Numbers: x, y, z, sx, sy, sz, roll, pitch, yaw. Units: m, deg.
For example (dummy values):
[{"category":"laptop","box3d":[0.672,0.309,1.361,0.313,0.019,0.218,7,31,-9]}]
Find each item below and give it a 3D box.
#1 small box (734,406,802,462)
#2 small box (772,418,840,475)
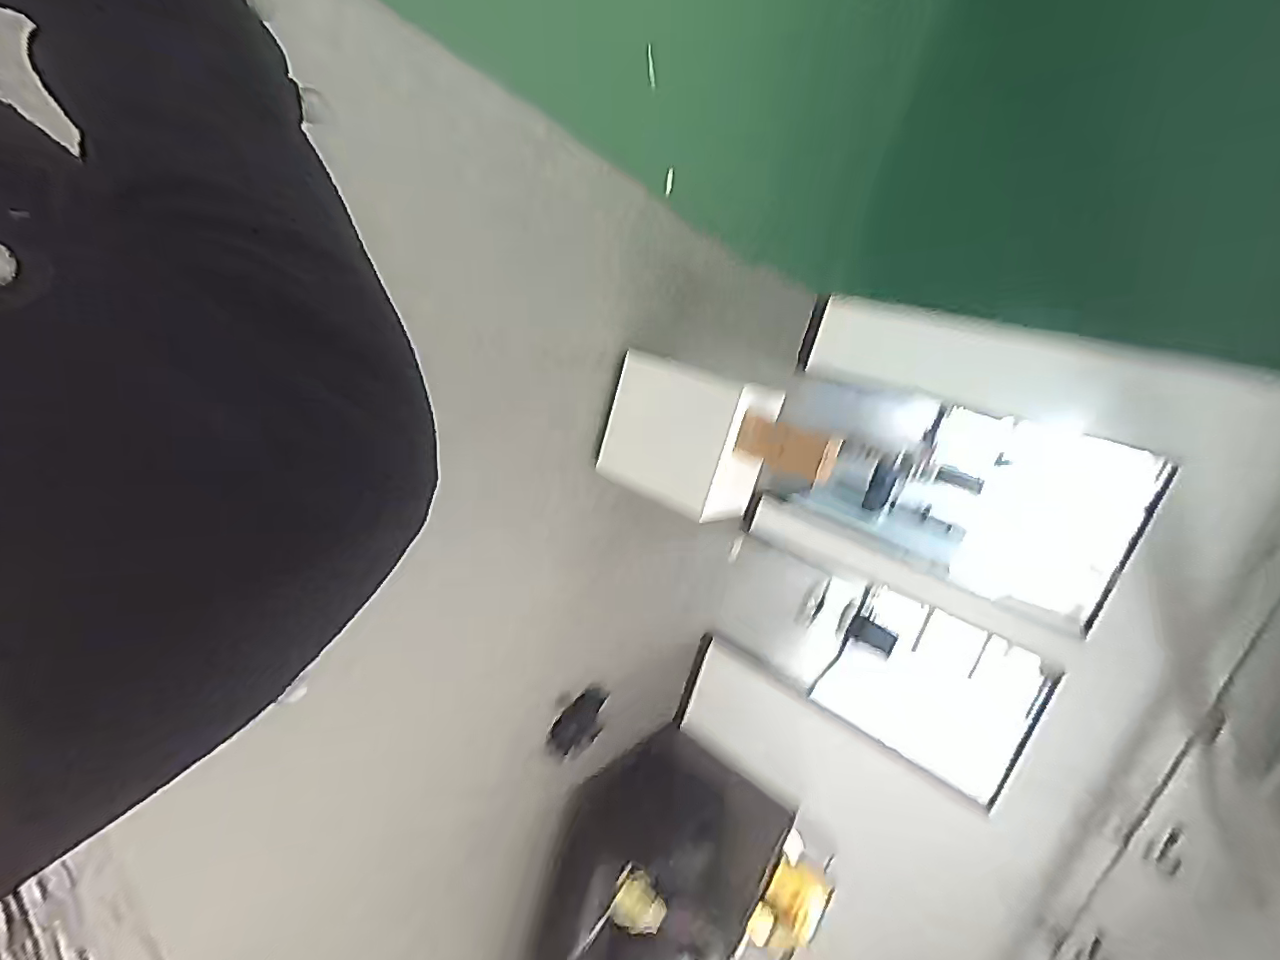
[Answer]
[{"category":"small box","box3d":[0.480,-0.176,2.033,0.179,0.176,0.168,-6,116,-52]},{"category":"small box","box3d":[0.595,-0.123,1.955,0.179,0.176,0.168,-4,113,-56]}]
